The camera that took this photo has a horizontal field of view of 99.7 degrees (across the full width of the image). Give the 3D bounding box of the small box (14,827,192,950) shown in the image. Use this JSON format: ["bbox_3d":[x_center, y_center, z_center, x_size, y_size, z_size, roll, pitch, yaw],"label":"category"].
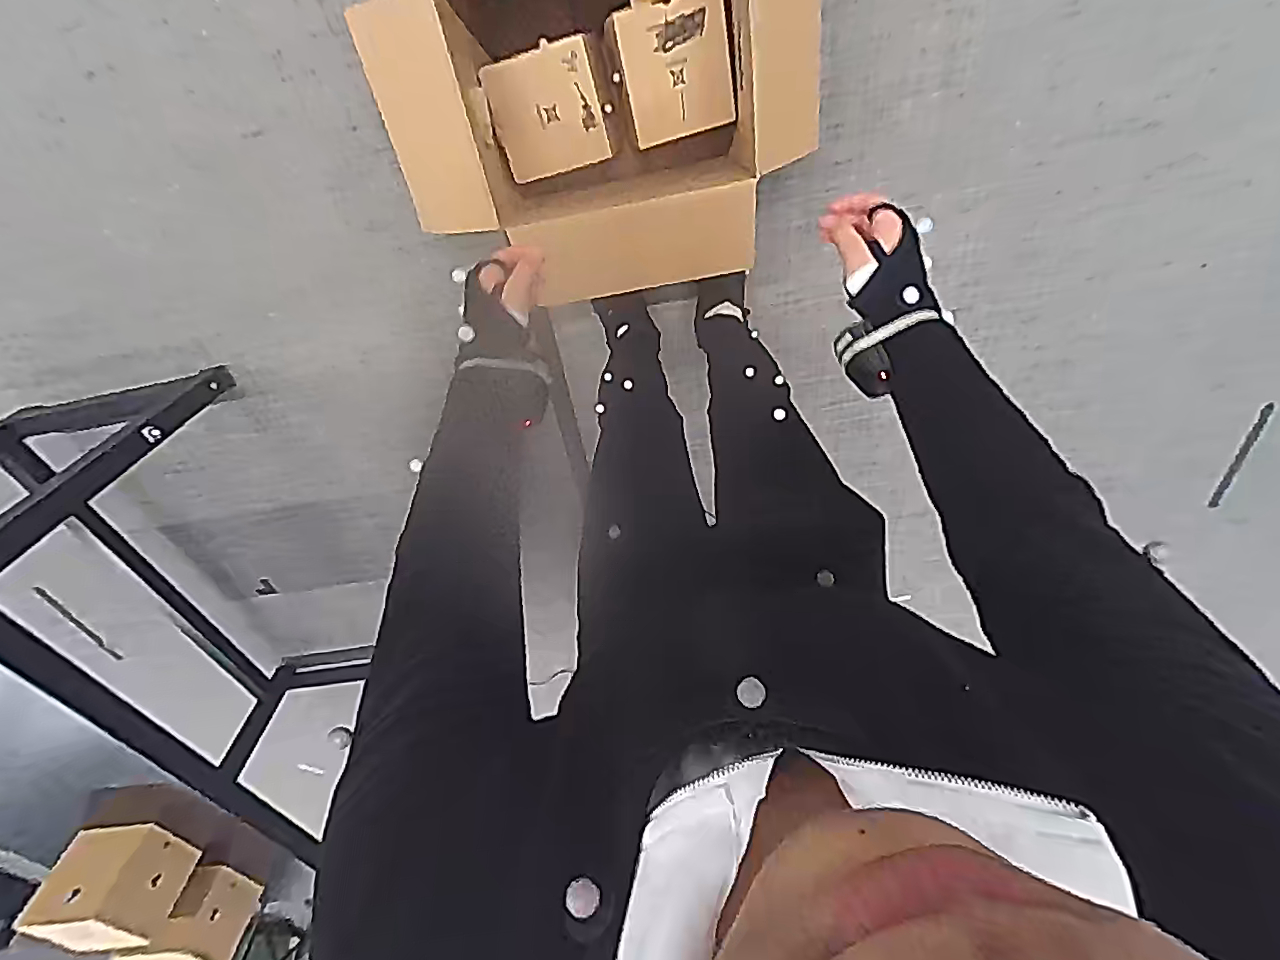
[{"bbox_3d":[-1.099,0.851,1.133,0.179,0.176,0.168,-8,126,5],"label":"small box"}]

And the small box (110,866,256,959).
[{"bbox_3d":[-1.058,1.038,1.278,0.179,0.176,0.168,-9,126,7],"label":"small box"}]
